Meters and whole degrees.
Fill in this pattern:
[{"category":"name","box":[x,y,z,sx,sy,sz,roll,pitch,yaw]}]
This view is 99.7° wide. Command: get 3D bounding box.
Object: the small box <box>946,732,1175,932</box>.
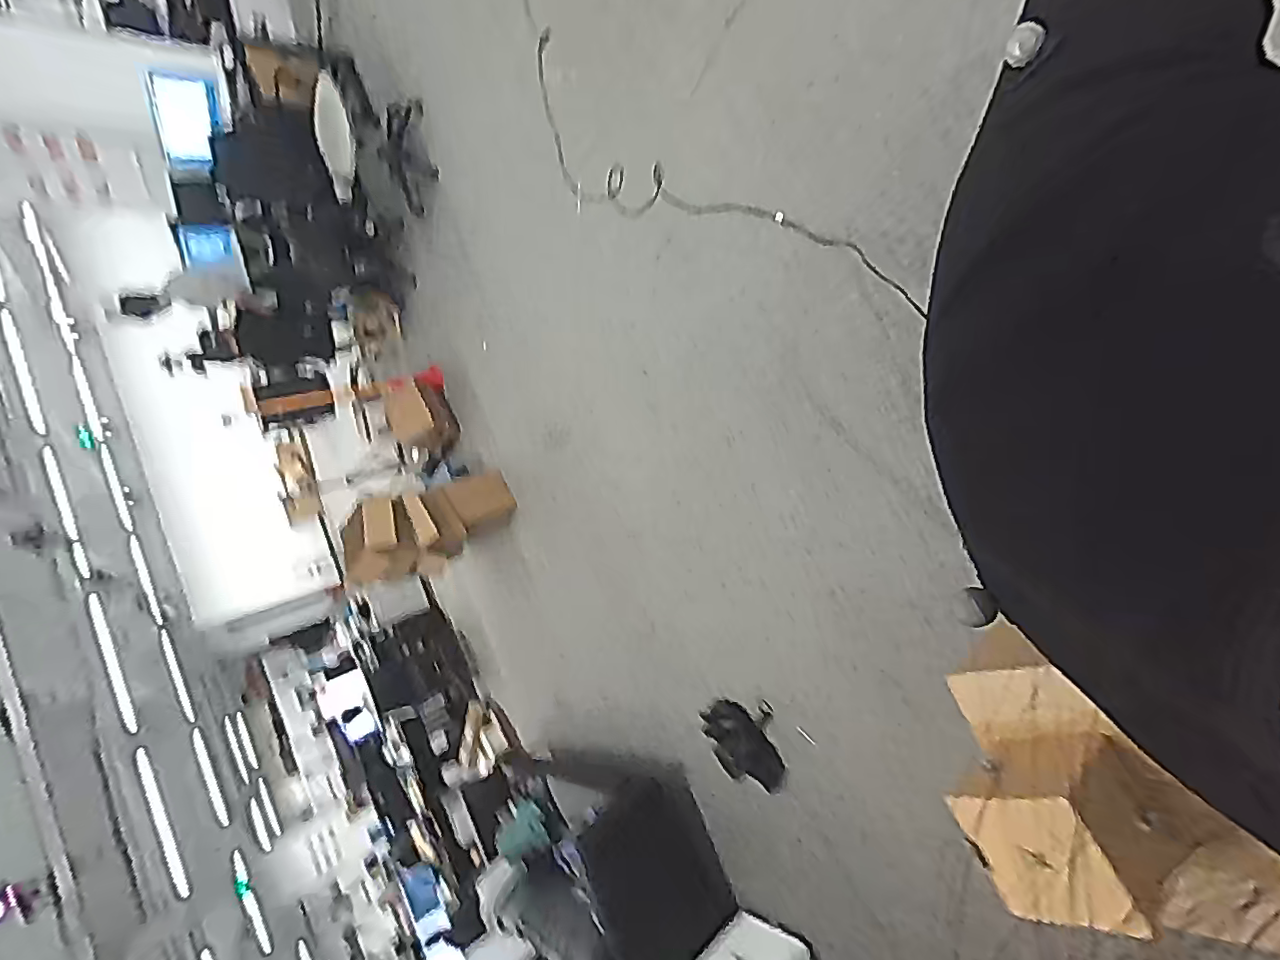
[{"category":"small box","box":[0.588,0.480,0.763,0.179,0.176,0.168,-46,65,50]}]
